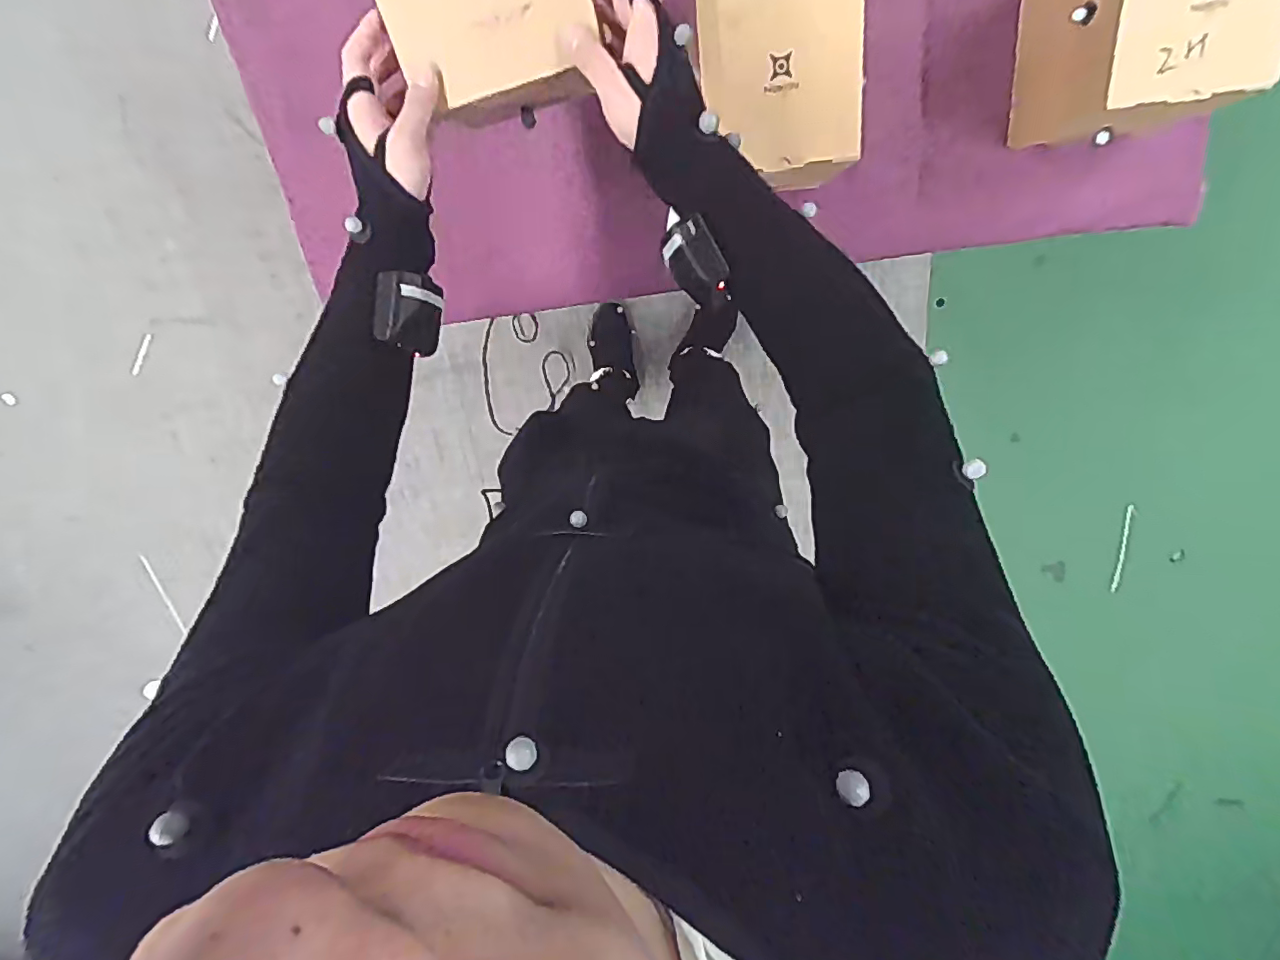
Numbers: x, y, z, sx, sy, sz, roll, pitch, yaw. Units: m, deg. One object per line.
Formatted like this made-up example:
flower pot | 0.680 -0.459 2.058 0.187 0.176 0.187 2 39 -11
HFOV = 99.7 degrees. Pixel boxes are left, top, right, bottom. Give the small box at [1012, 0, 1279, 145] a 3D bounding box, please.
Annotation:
small box | 0.544 -0.492 0.590 0.168 0.176 0.179 -5 111 4

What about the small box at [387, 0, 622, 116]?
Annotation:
small box | -0.117 -0.441 0.467 0.168 0.176 0.179 -10 120 10

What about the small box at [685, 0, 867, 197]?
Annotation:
small box | 0.145 -0.441 0.621 0.168 0.176 0.179 -6 111 3
